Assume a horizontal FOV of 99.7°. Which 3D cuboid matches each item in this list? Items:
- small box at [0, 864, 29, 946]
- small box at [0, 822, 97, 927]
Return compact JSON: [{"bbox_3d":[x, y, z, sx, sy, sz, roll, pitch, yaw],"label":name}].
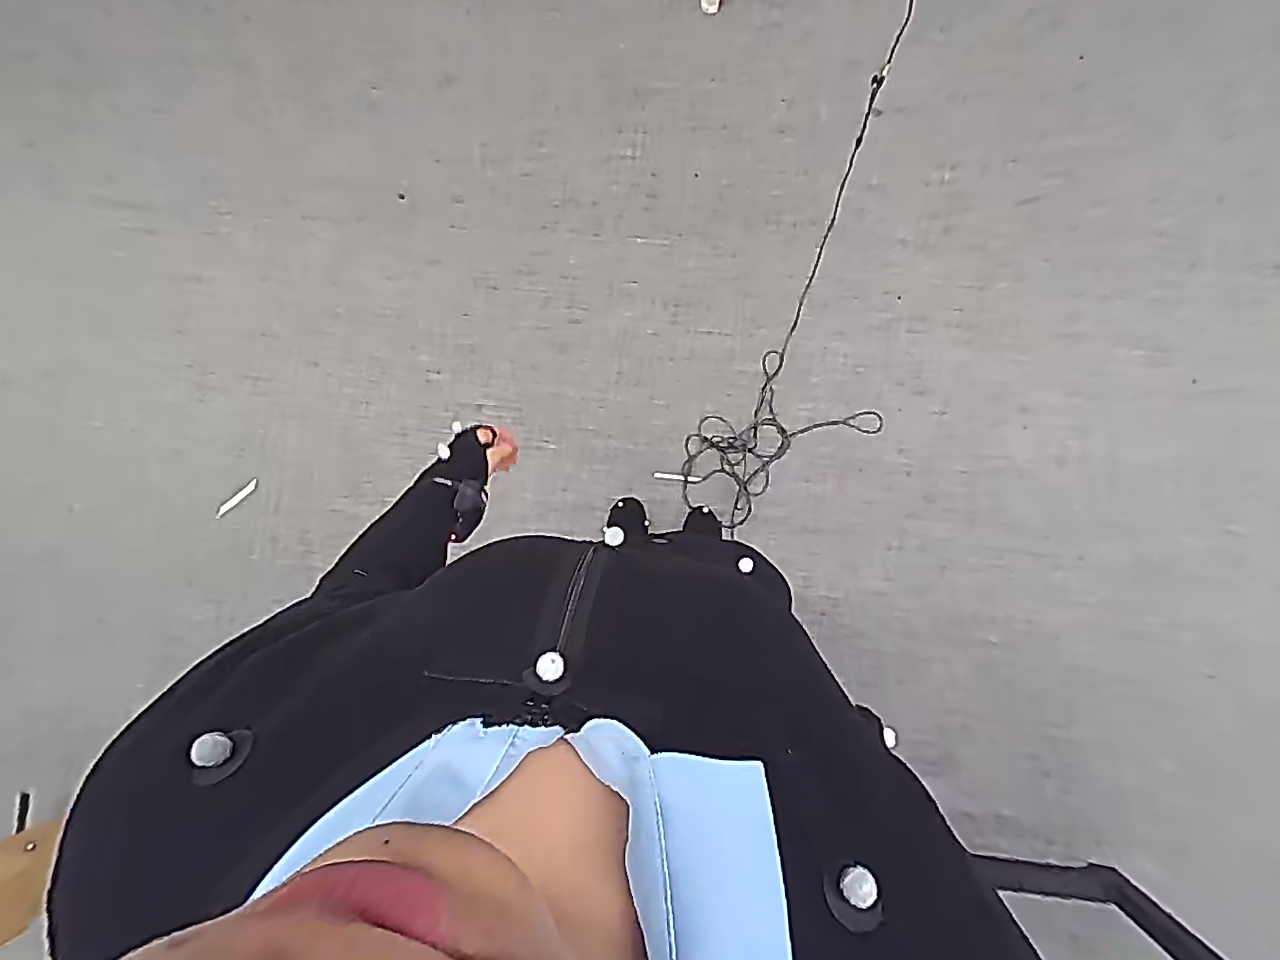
[{"bbox_3d":[-1.701,1.097,1.355,0.168,0.176,0.179,0,87,4],"label":"small box"},{"bbox_3d":[-1.697,1.099,1.518,0.179,0.176,0.168,9,87,6],"label":"small box"}]
